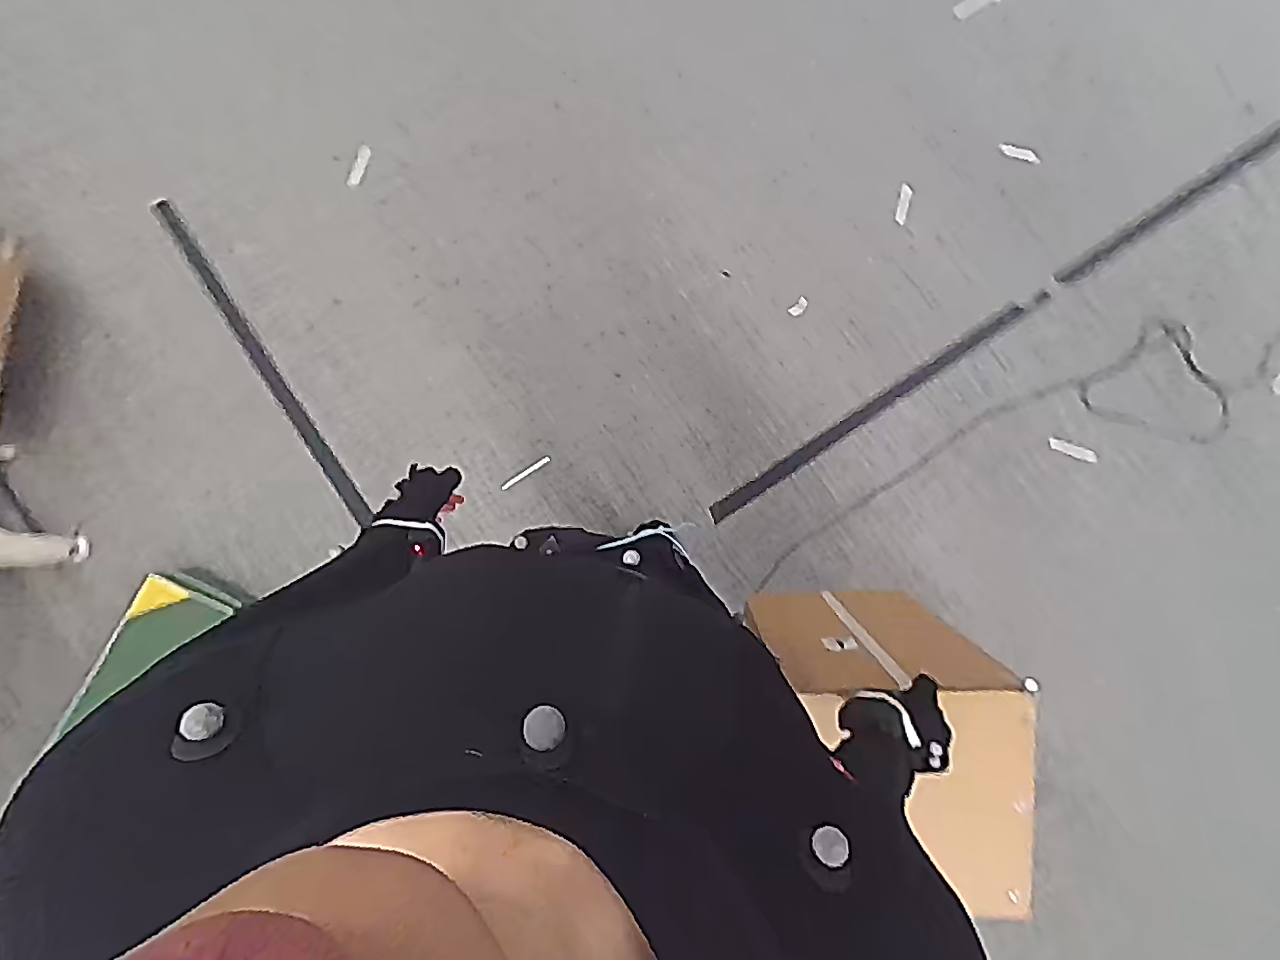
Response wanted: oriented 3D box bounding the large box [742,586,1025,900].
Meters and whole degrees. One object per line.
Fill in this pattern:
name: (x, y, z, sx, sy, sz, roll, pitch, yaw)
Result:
large box: (0.354, 0.394, 0.913, 0.320, 0.408, 0.320, -2, 98, 4)
